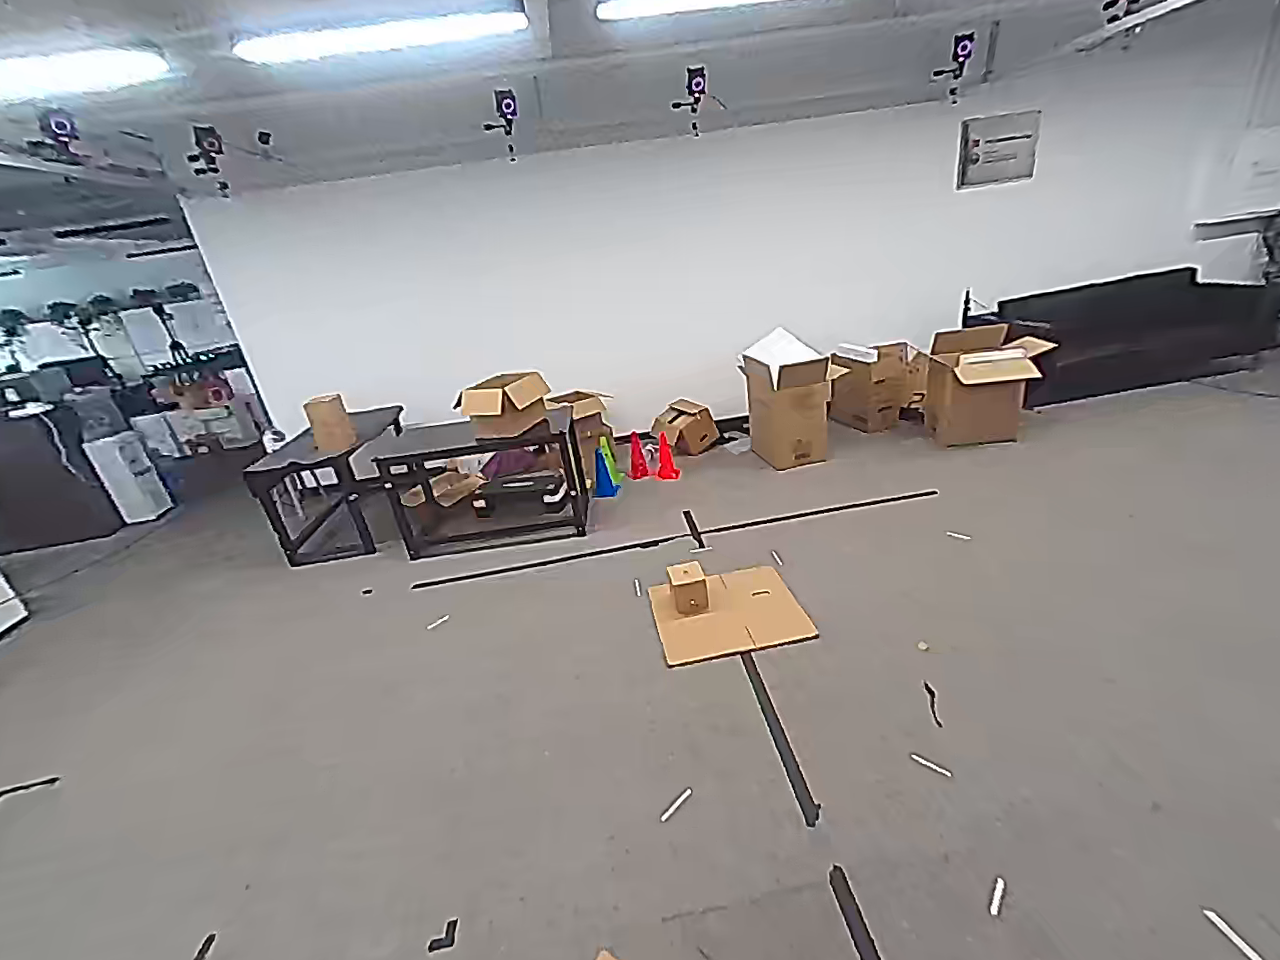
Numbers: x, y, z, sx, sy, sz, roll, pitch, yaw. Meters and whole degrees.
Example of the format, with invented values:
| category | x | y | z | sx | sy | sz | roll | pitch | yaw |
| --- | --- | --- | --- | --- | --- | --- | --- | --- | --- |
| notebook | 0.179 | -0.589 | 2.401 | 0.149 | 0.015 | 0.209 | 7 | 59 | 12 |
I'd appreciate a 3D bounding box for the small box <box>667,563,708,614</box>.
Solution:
| category | x | y | z | sx | sy | sz | roll | pitch | yaw |
| --- | --- | --- | --- | --- | --- | --- | --- | --- | --- |
| small box | 0.240 | 0.549 | 2.730 | 0.168 | 0.176 | 0.179 | -11 | 23 | -4 |
